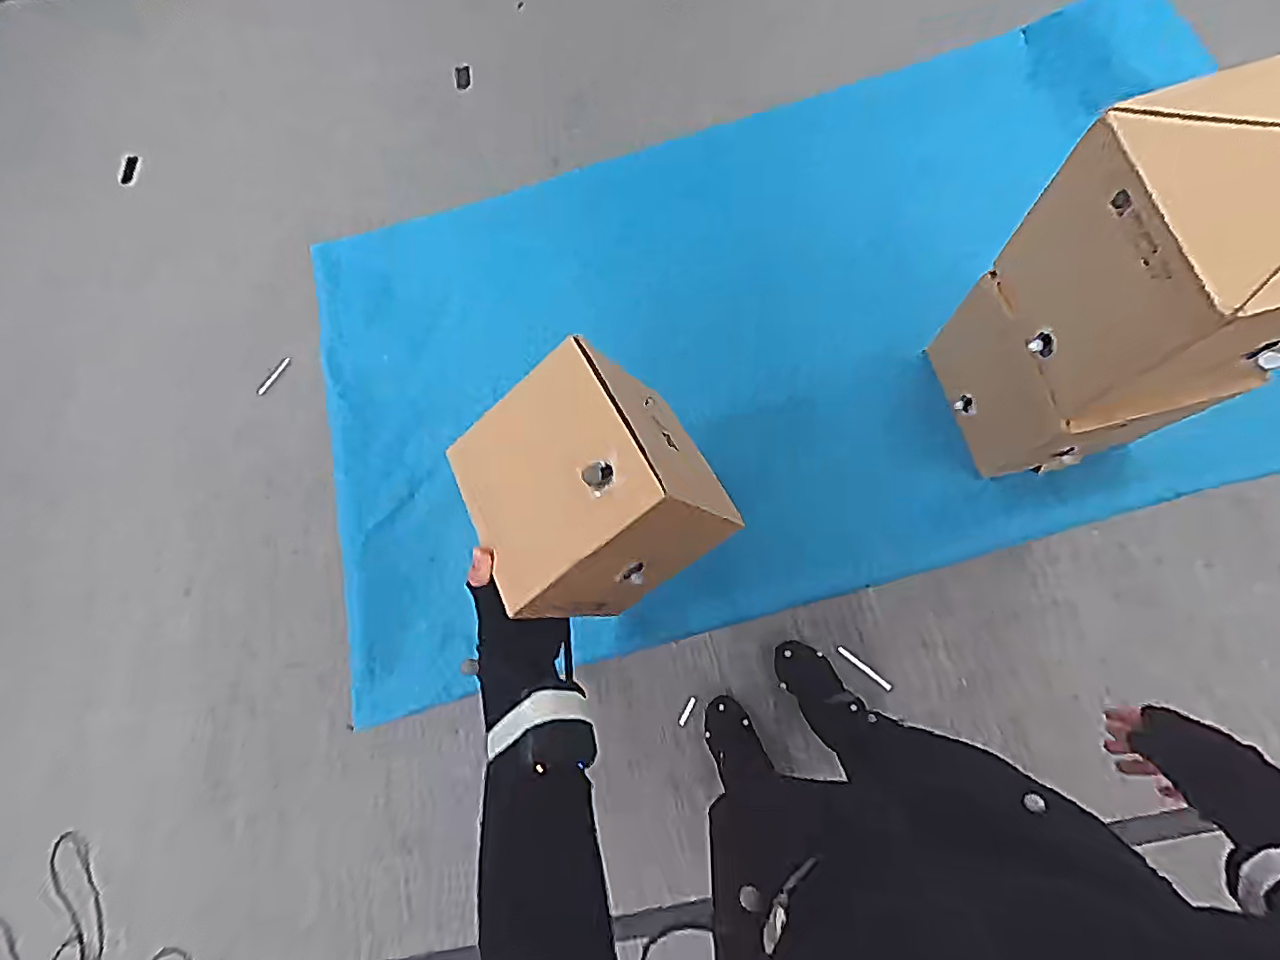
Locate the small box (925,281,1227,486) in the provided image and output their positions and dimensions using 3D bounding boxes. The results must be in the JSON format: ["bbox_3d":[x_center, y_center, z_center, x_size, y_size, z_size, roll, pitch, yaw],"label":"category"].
[{"bbox_3d":[0.436,-0.115,0.562,0.168,0.176,0.179,-16,73,4],"label":"small box"}]

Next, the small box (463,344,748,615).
[{"bbox_3d":[-0.034,0.014,0.512,0.176,0.168,0.179,-38,63,17],"label":"small box"}]

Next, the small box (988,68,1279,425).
[{"bbox_3d":[0.416,-0.164,0.406,0.179,0.176,0.168,-15,72,7],"label":"small box"}]
